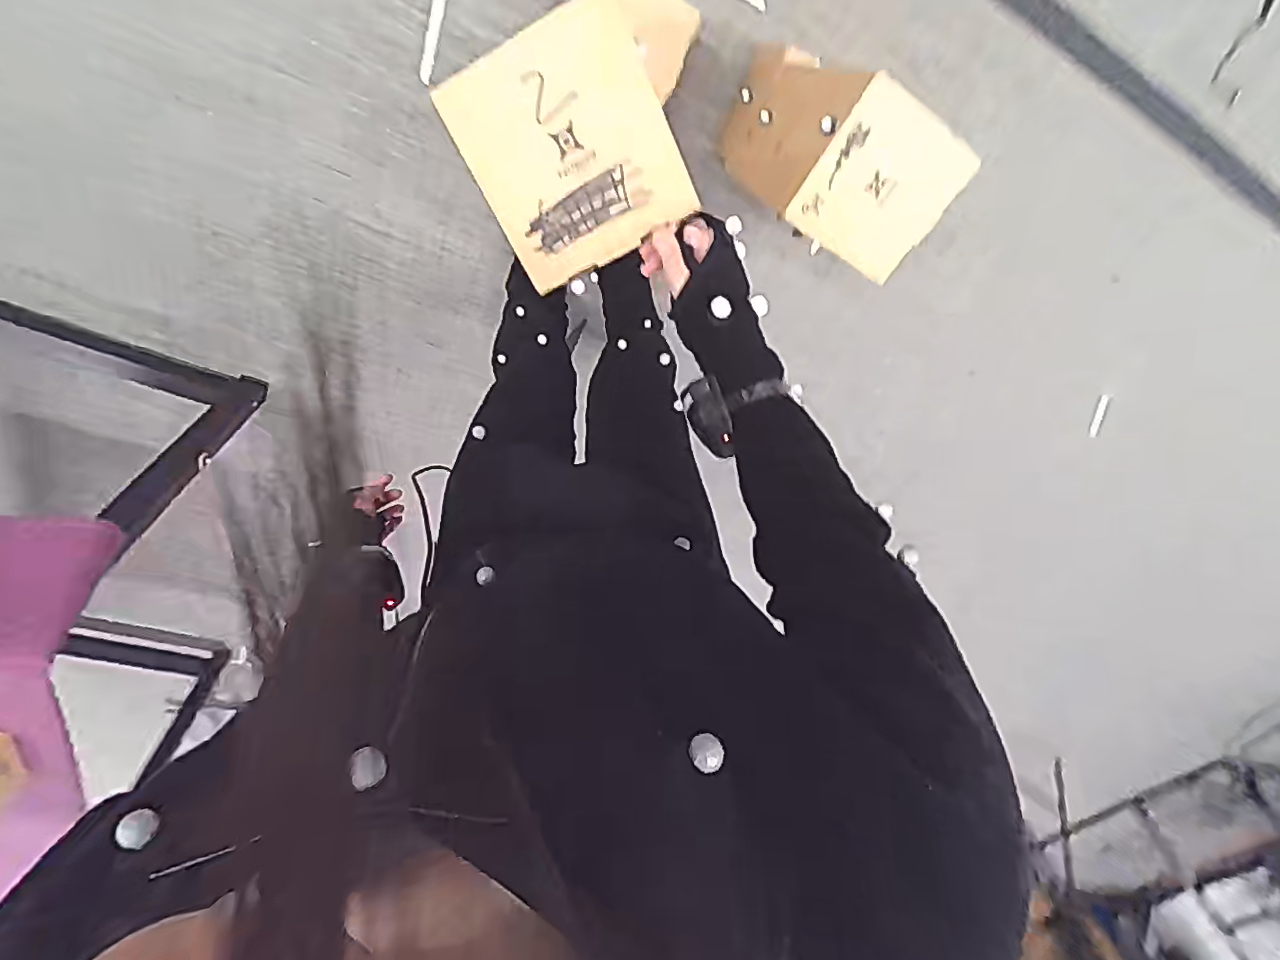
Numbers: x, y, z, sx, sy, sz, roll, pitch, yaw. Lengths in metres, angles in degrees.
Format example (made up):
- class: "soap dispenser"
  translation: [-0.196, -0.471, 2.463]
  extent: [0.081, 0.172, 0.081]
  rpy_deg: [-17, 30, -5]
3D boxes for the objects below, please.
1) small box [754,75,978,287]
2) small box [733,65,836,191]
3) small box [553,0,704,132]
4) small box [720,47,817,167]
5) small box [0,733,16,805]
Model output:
- class: "small box"
  translation: [0.278, -0.391, 0.703]
  extent: [0.179, 0.176, 0.168]
  rpy_deg: [22, 123, -23]
- class: "small box"
  translation: [0.266, -0.497, 0.828]
  extent: [0.179, 0.176, 0.168]
  rpy_deg: [19, 125, -21]
- class: "small box"
  translation: [-0.026, -0.688, 0.856]
  extent: [0.179, 0.176, 0.168]
  rpy_deg: [18, 124, -20]
- class: "small box"
  translation: [0.256, -0.614, 0.945]
  extent: [0.168, 0.176, 0.179]
  rpy_deg: [18, 124, -20]
- class: "small box"
  translation: [-0.998, 0.433, 0.715]
  extent: [0.179, 0.176, 0.168]
  rpy_deg: [18, 124, -18]
